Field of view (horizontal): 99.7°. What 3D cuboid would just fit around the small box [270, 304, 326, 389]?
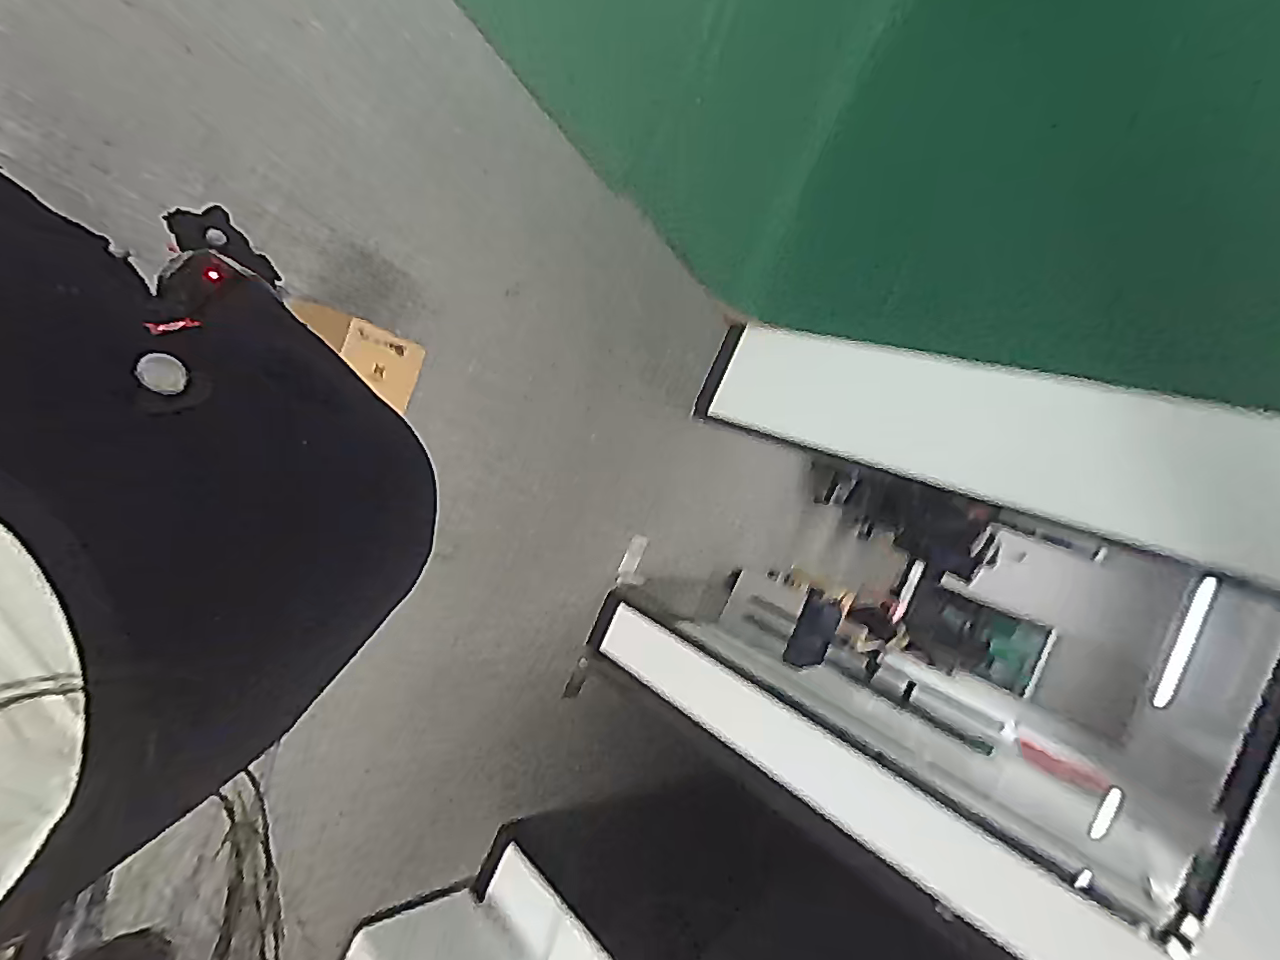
[{"bbox_3d":[-0.722,-0.286,1.255,0.168,0.176,0.179,26,86,-54],"label":"small box"}]

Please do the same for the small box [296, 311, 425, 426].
[{"bbox_3d":[-0.601,-0.238,1.155,0.168,0.176,0.179,22,91,-54],"label":"small box"}]
